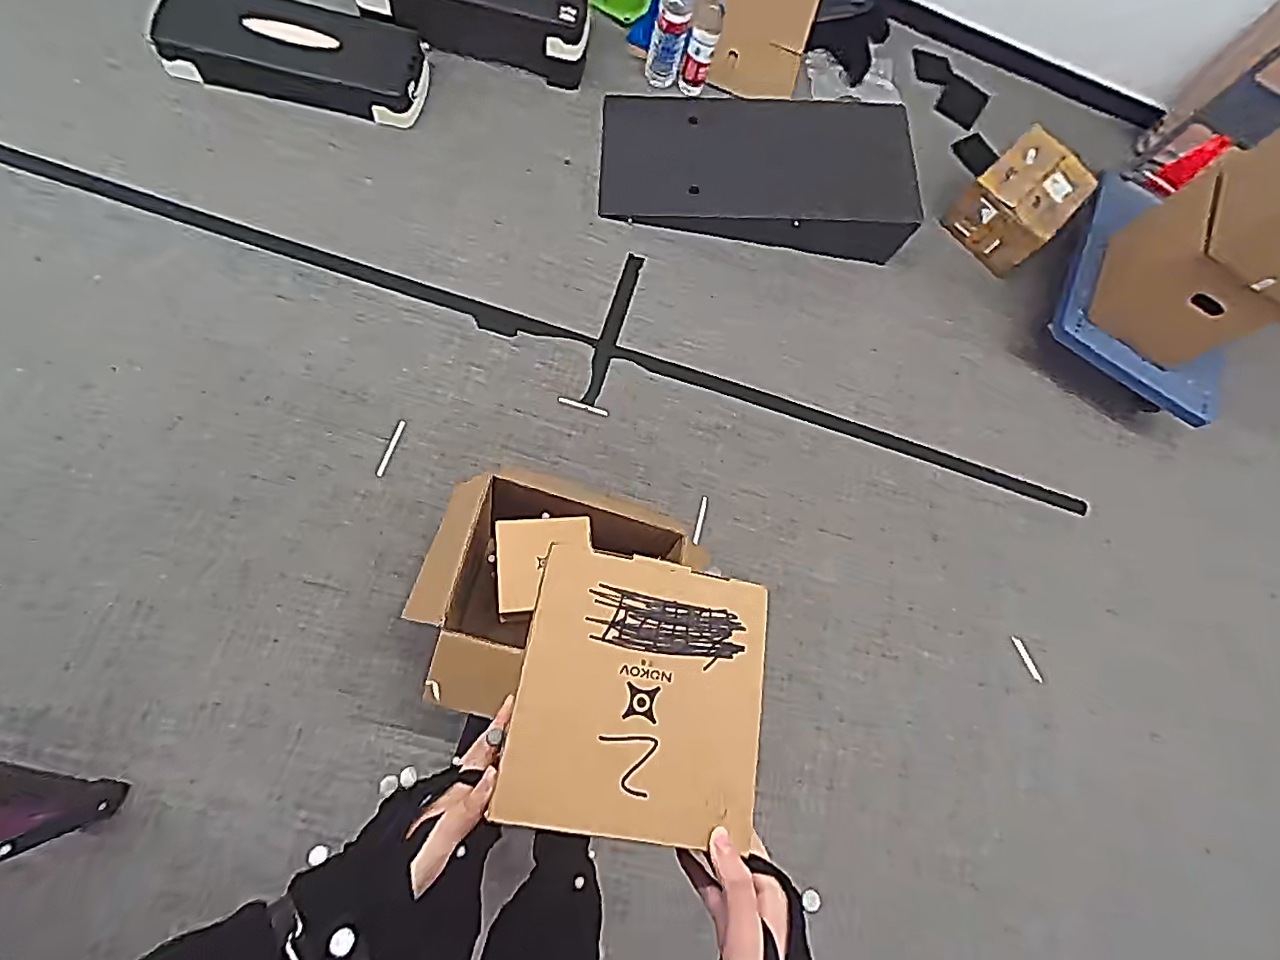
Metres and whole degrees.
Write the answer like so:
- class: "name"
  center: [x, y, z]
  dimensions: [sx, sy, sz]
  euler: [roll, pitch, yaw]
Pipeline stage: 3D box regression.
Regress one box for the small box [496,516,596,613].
- class: "small box"
  center: [-0.191, 0.169, 1.061]
  dimensions: [0.179, 0.176, 0.168]
  euler: [-2, 76, -16]
